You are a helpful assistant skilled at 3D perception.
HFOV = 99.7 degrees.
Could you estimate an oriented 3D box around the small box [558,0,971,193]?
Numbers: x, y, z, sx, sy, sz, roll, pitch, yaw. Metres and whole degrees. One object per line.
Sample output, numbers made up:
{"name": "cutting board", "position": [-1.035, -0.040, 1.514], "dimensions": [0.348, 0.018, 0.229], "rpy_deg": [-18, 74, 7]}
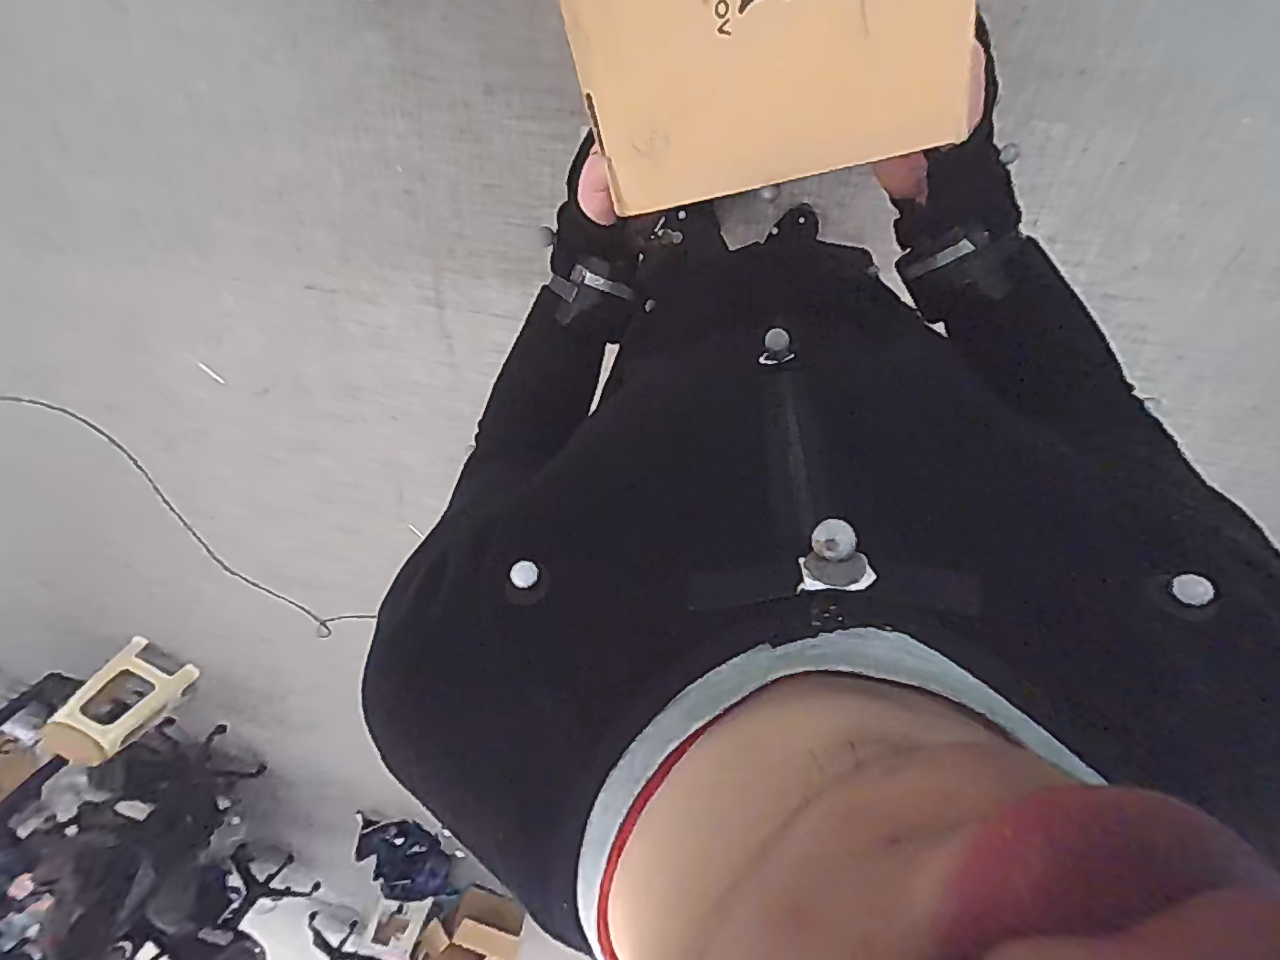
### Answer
{"name": "small box", "position": [0.063, -0.272, 0.286], "dimensions": [0.179, 0.176, 0.168], "rpy_deg": [-3, 126, 19]}
